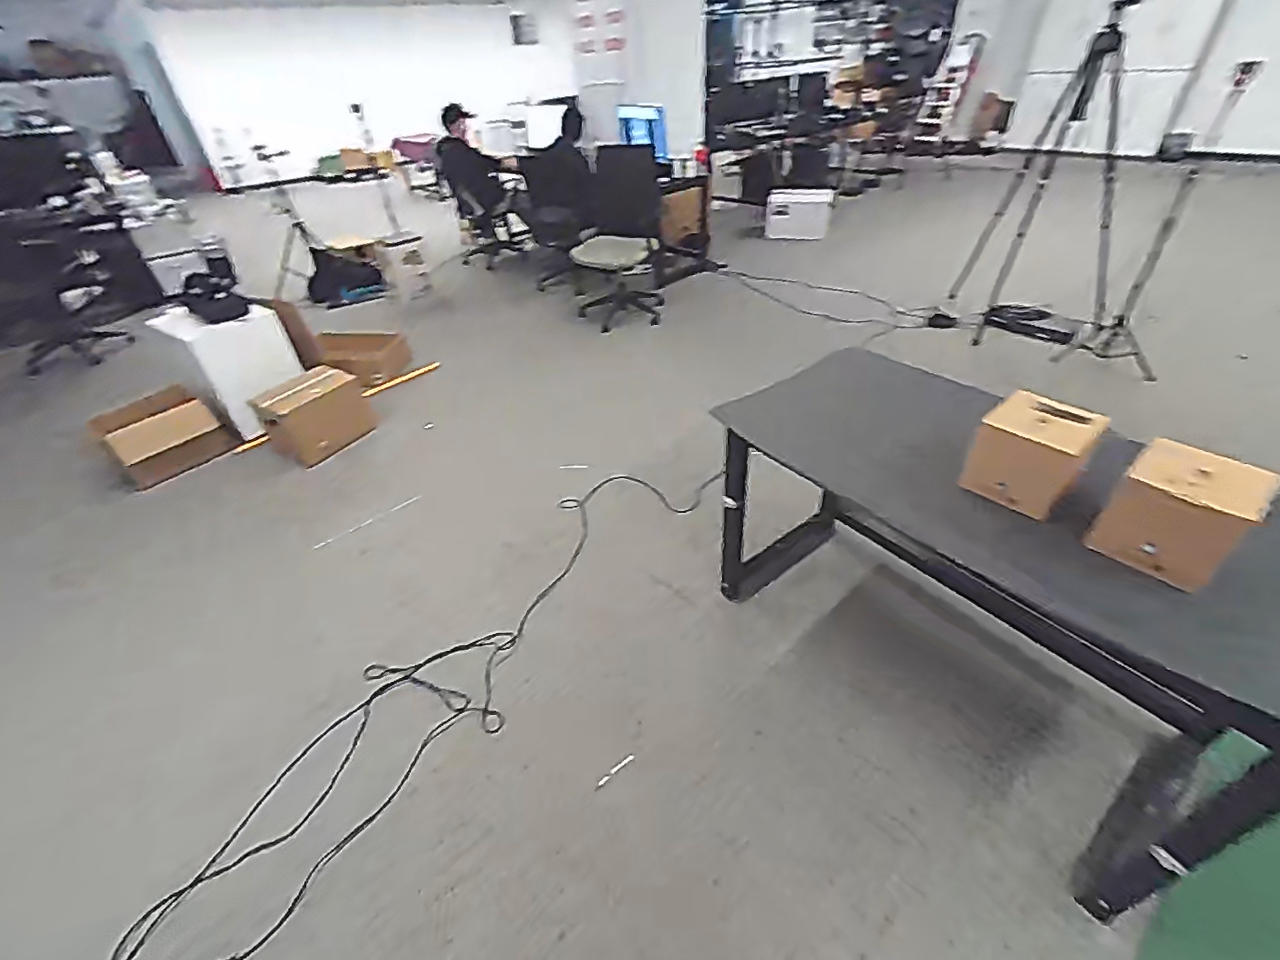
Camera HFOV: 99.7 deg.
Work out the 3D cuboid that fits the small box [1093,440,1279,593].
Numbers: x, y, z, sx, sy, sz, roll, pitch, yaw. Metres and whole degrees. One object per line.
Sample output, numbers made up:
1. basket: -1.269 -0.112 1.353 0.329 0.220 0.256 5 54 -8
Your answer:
1. small box: 0.949 0.061 0.949 0.179 0.176 0.168 -28 43 -28
